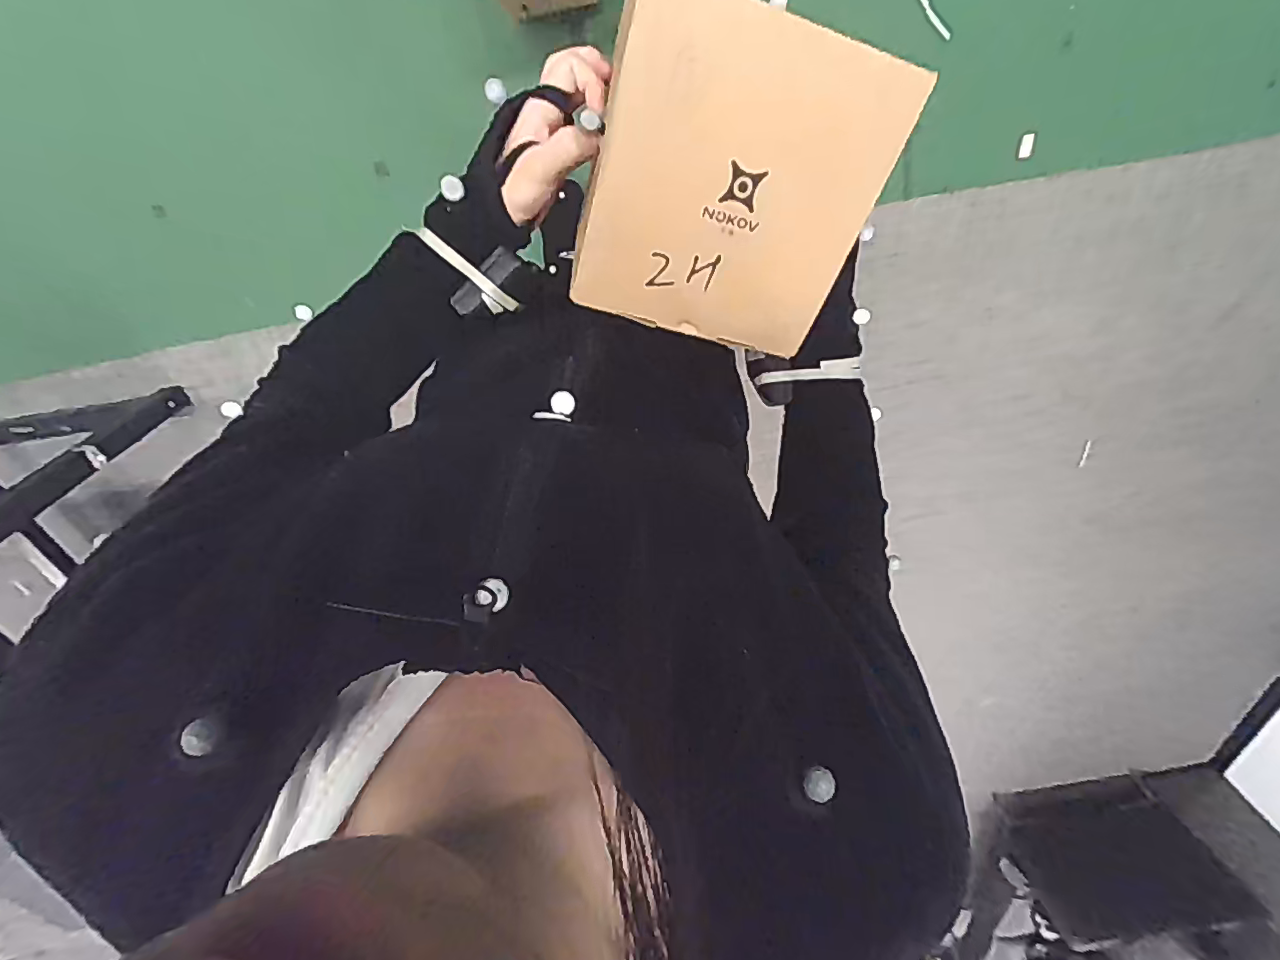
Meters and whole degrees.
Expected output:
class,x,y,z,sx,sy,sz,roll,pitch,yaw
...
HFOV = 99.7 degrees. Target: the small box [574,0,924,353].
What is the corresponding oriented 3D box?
class,x,y,z,sx,sy,sz,roll,pitch,yaw
small box,0.051,-0.222,0.388,0.168,0.176,0.179,11,128,-12
